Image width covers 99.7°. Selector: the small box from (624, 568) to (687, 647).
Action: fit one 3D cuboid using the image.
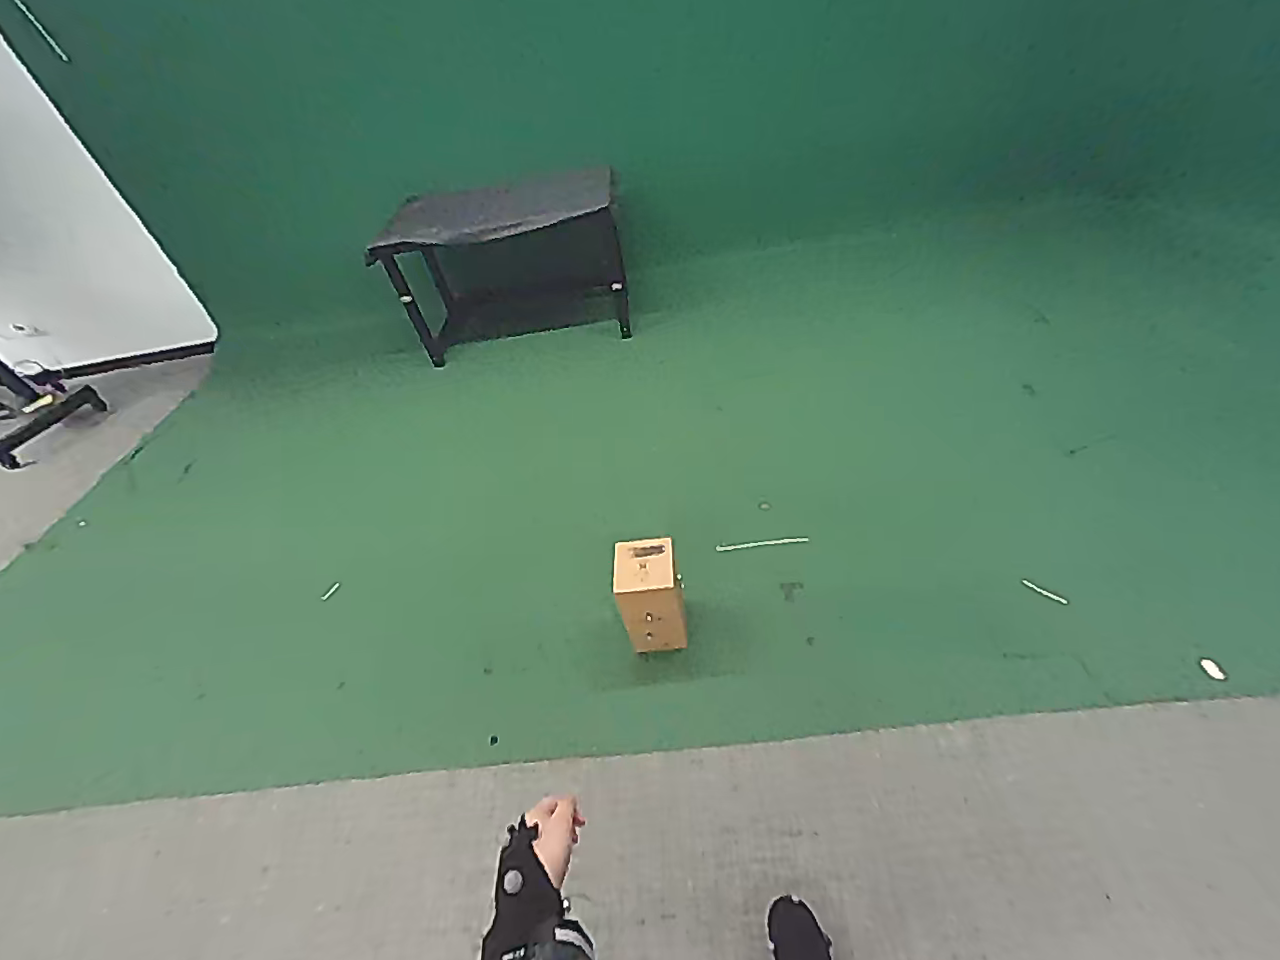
[{"bbox_3d":[0.049,0.395,1.654,0.168,0.176,0.179,-7,43,6],"label":"small box"}]
